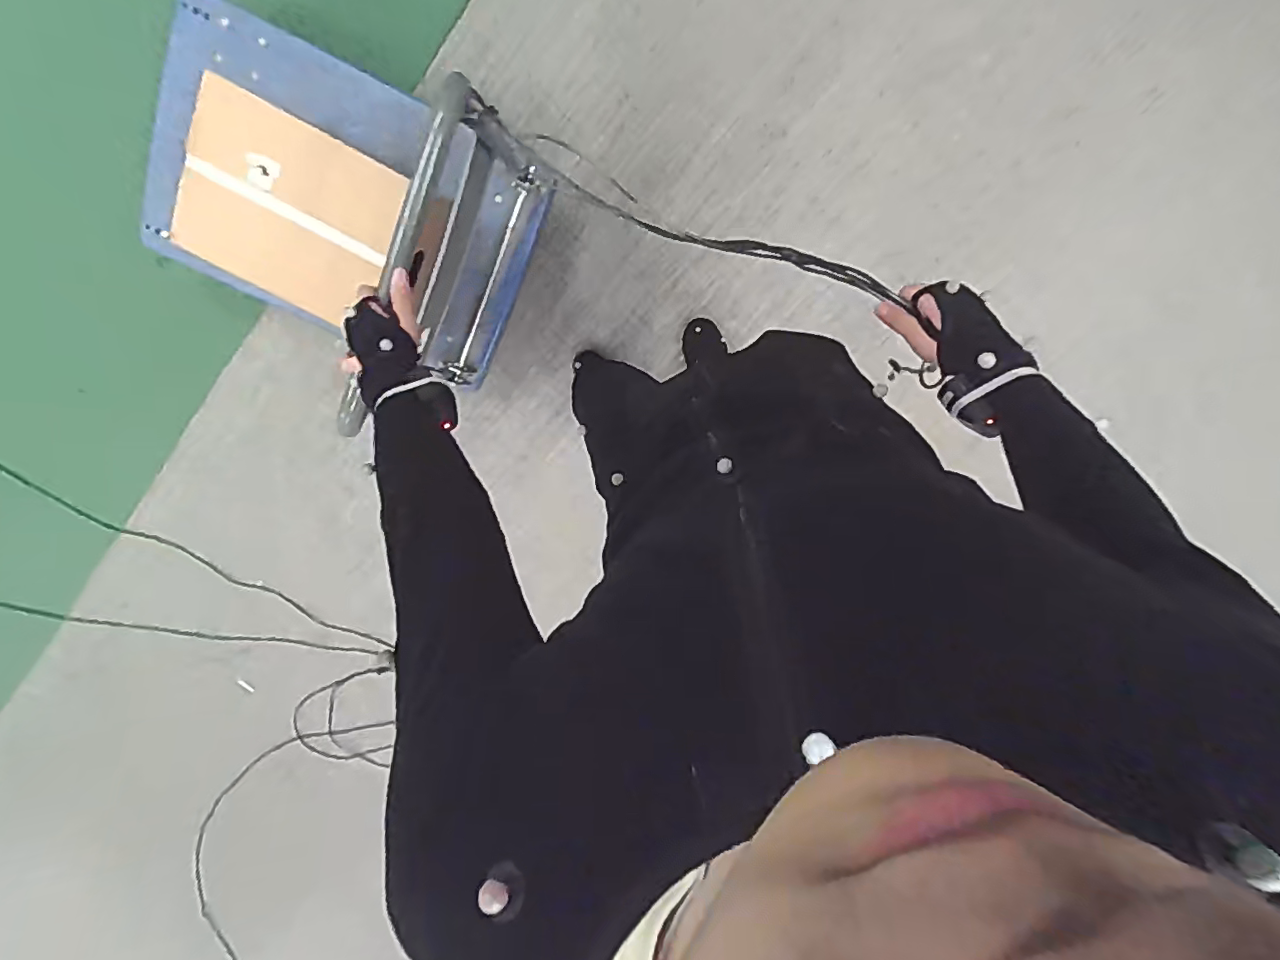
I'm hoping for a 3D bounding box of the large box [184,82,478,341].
[{"bbox_3d":[-0.625,-0.534,1.155,0.408,0.320,0.320,27,106,-6],"label":"large box"}]
